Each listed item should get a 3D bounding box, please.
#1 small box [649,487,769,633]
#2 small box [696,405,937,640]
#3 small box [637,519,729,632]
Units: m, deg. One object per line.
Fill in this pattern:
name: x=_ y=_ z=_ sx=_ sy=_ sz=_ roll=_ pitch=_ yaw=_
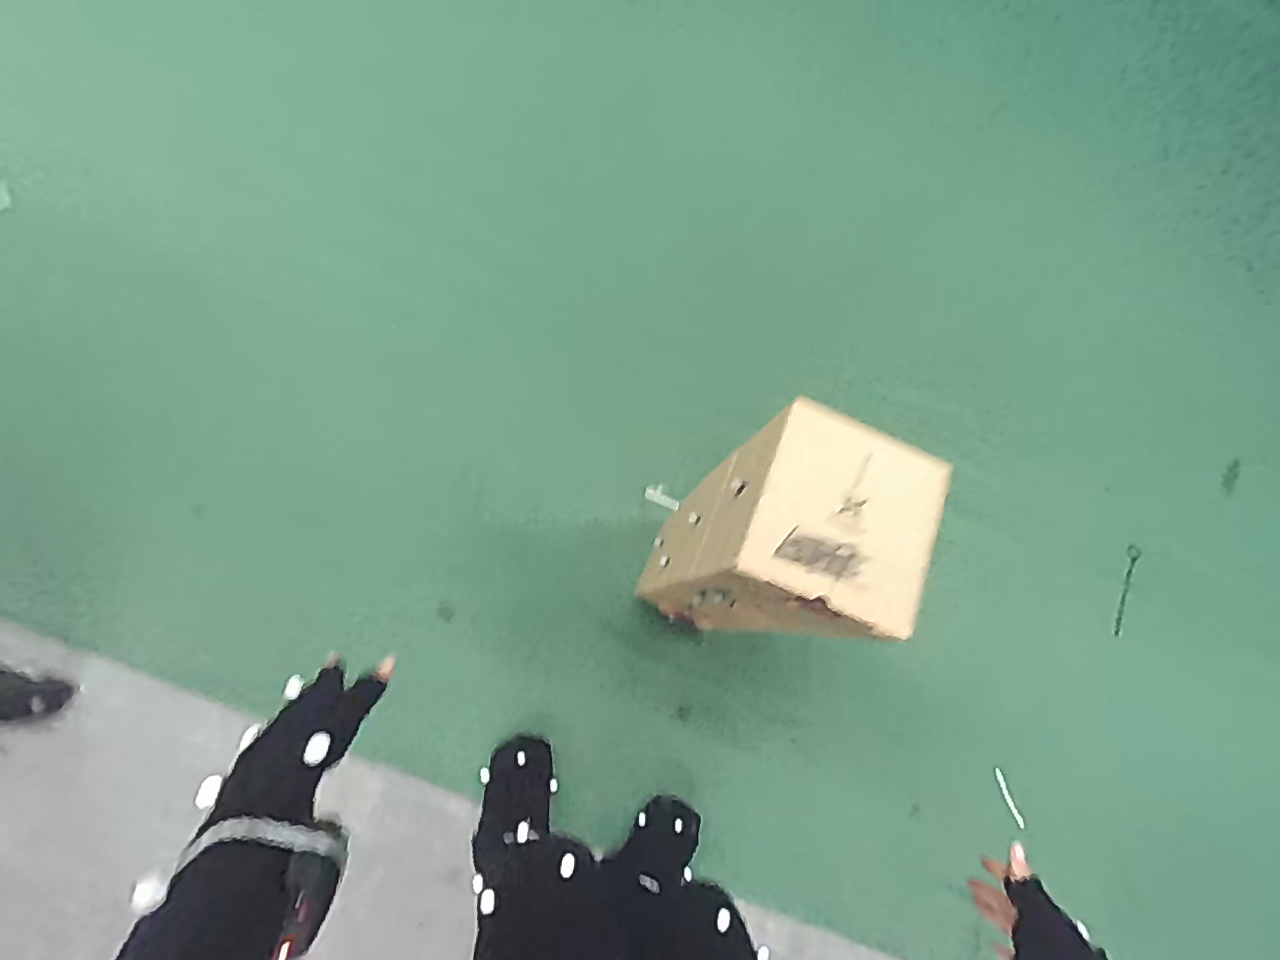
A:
small box: x=0.126 y=0.136 z=0.891 sx=0.168 sy=0.176 sz=0.179 roll=23 pitch=74 yaw=-2
small box: x=0.172 y=0.055 z=0.575 sx=0.168 sy=0.176 sz=0.179 roll=24 pitch=72 yaw=-2
small box: x=0.104 y=0.179 z=1.046 sx=0.168 sy=0.176 sz=0.179 roll=25 pitch=73 yaw=-1
